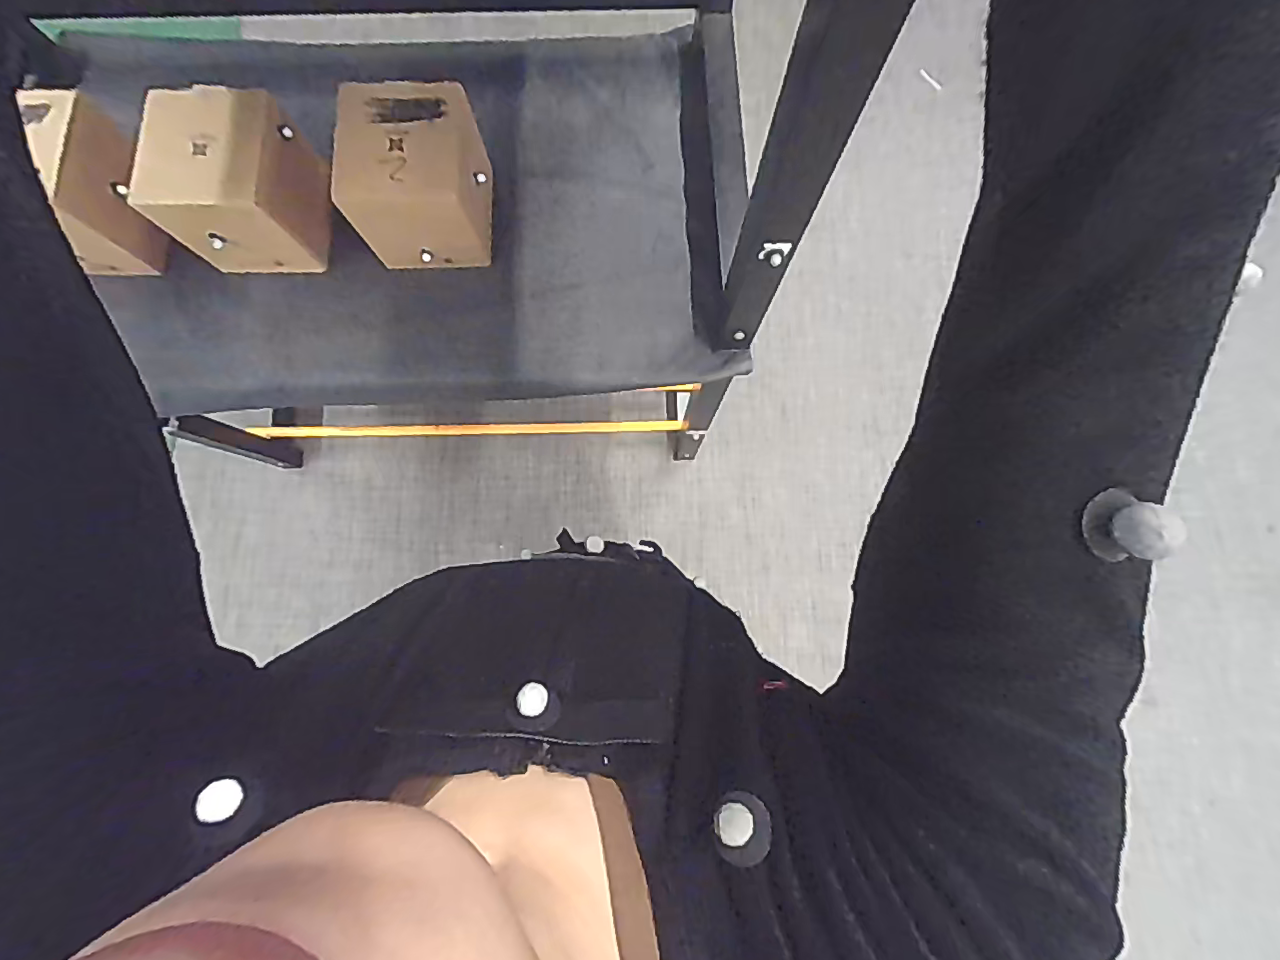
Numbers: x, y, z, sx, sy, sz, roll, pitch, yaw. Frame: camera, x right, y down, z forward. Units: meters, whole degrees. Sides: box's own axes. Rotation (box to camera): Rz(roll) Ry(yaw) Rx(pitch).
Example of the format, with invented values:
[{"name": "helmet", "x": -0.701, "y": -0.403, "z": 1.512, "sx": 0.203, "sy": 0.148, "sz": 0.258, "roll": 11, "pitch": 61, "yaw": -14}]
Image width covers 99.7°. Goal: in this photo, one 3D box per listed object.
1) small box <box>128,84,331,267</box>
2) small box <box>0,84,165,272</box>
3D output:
[{"name": "small box", "x": -0.581, "y": -0.431, "z": 0.789, "sx": 0.168, "sy": 0.176, "sz": 0.179, "roll": 0, "pitch": 80, "yaw": -1}, {"name": "small box", "x": -0.834, "y": -0.428, "z": 0.784, "sx": 0.168, "sy": 0.176, "sz": 0.179, "roll": 0, "pitch": 81, "yaw": 0}]
